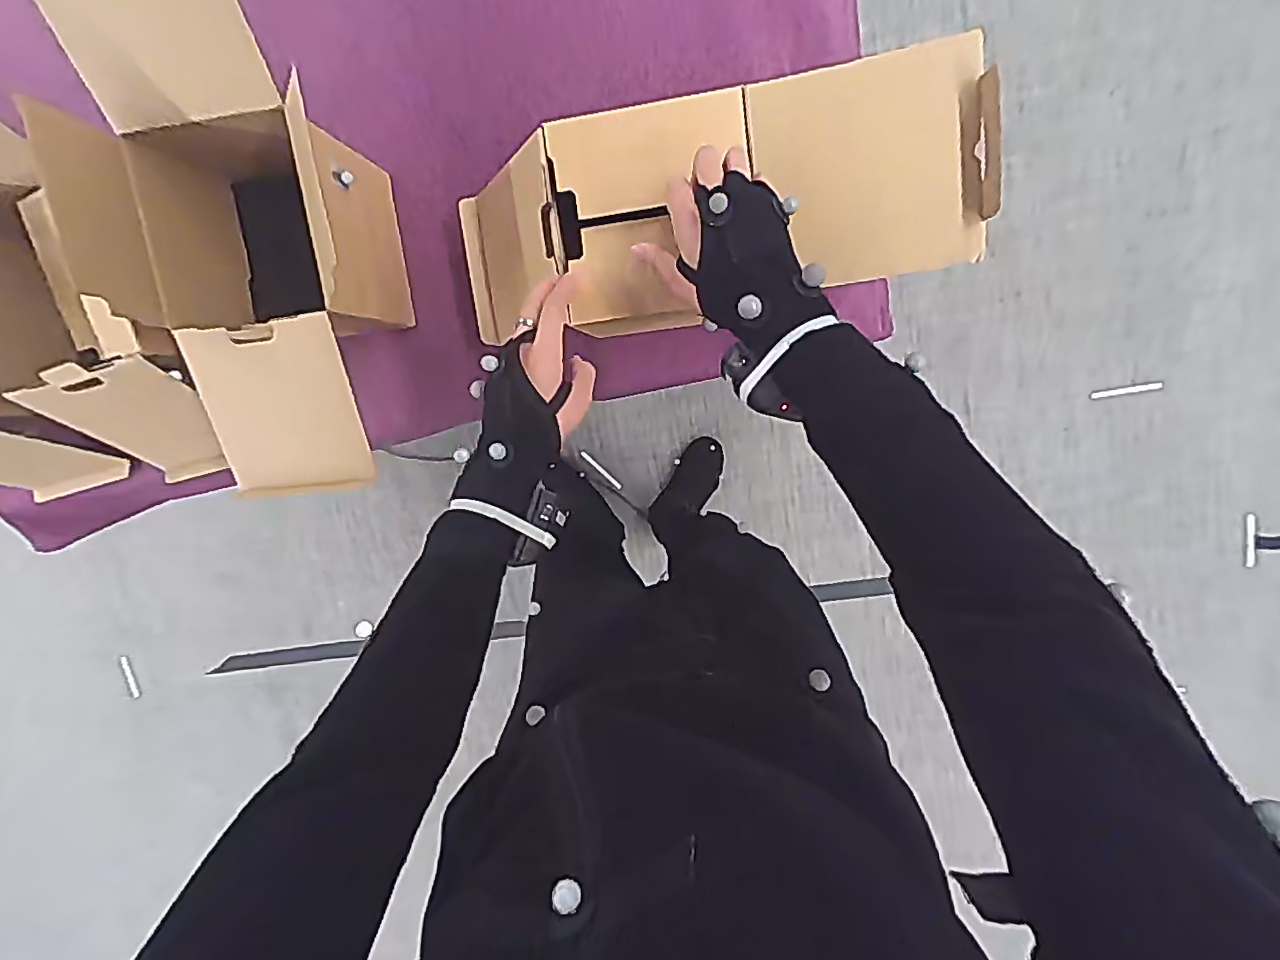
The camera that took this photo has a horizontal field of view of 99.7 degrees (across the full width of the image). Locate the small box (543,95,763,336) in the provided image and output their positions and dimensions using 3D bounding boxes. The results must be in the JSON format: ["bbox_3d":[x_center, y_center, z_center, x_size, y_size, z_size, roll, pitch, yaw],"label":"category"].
[{"bbox_3d":[0.018,-0.239,0.535,0.179,0.176,0.168,-5,100,6],"label":"small box"}]
